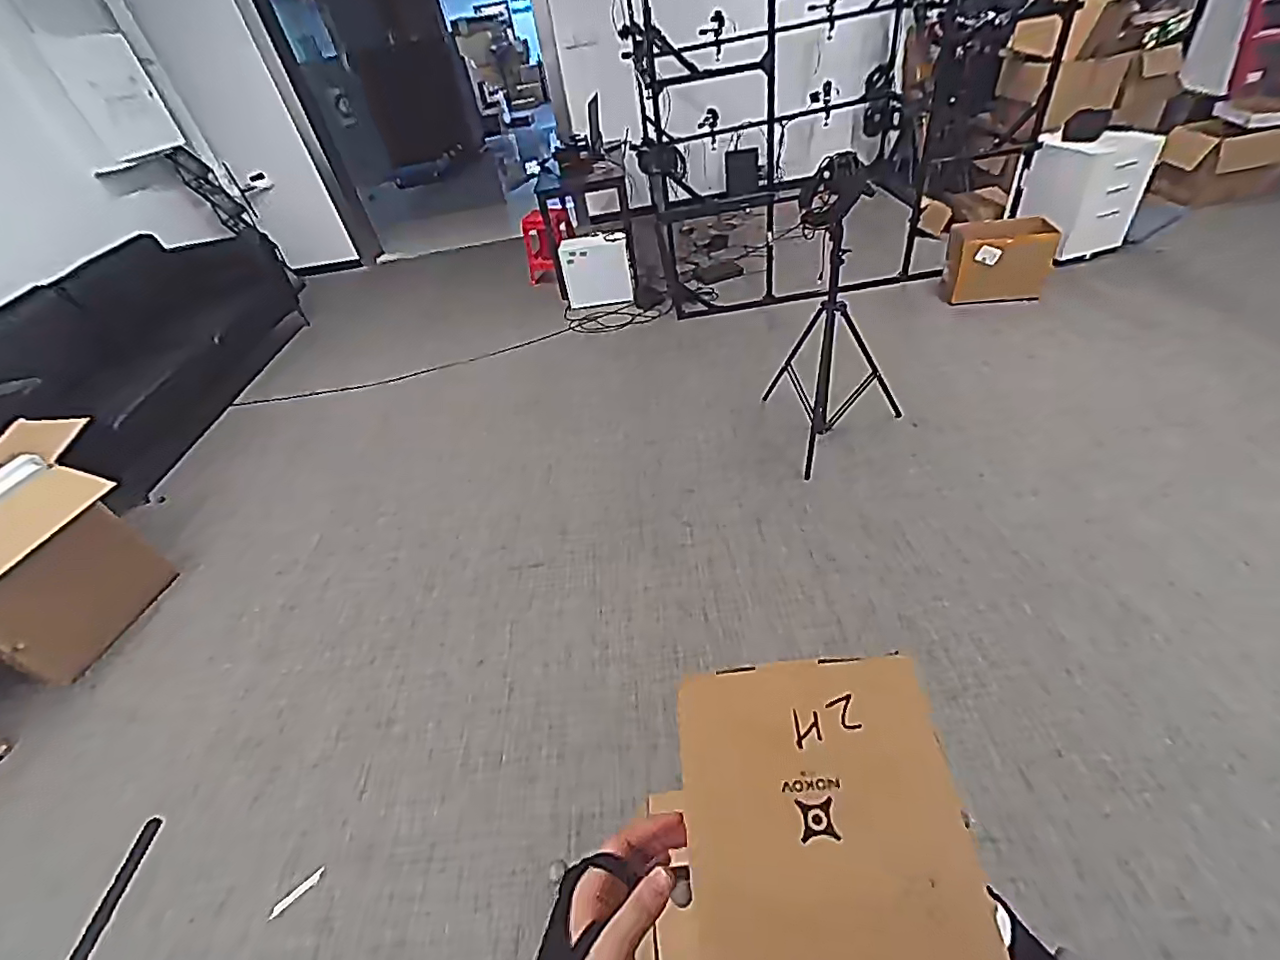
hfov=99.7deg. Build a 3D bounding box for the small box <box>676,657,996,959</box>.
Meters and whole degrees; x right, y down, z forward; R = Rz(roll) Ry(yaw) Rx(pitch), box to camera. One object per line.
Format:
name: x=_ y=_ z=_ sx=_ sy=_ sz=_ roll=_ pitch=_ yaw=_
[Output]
small box: x=0.124 y=0.253 z=0.410 sx=0.168 sy=0.176 sz=0.179 roll=-8 pitch=52 yaw=6
